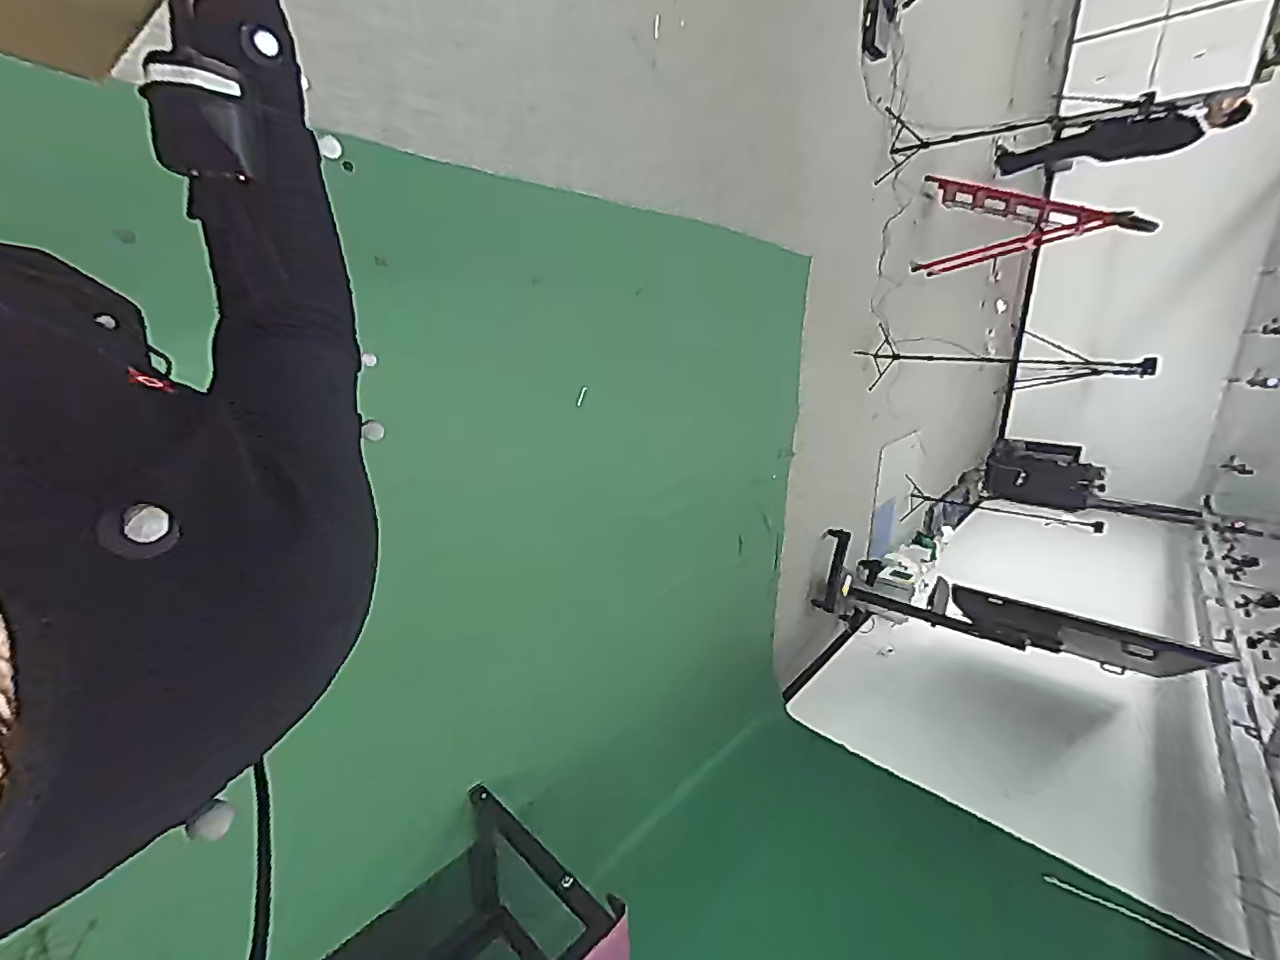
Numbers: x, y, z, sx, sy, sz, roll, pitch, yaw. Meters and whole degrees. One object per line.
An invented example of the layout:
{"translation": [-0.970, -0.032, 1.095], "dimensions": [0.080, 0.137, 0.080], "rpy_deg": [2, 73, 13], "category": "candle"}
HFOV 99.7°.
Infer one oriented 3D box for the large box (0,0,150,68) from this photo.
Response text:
{"translation": [-0.516, -0.464, 0.236], "dimensions": [0.408, 0.320, 0.320], "rpy_deg": [-12, 116, -50], "category": "large box"}
